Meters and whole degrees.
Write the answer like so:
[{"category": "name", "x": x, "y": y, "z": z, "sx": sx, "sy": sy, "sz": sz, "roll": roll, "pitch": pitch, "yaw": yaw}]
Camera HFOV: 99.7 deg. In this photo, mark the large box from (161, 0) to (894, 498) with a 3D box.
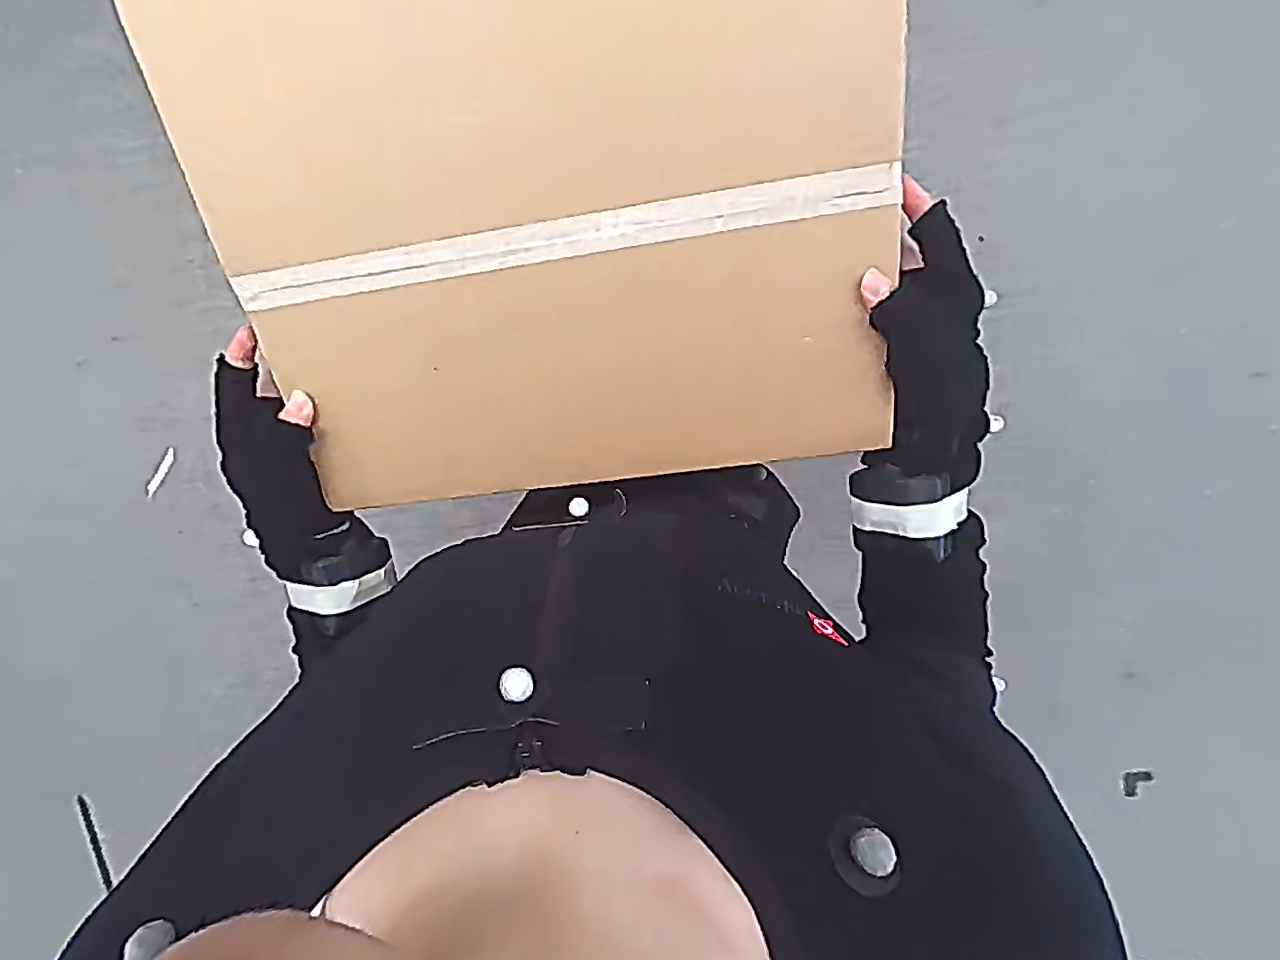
[{"category": "large box", "x": -0.044, "y": -0.206, "z": 0.470, "sx": 0.408, "sy": 0.320, "sz": 0.320, "roll": -7, "pitch": 114, "yaw": 6}]
